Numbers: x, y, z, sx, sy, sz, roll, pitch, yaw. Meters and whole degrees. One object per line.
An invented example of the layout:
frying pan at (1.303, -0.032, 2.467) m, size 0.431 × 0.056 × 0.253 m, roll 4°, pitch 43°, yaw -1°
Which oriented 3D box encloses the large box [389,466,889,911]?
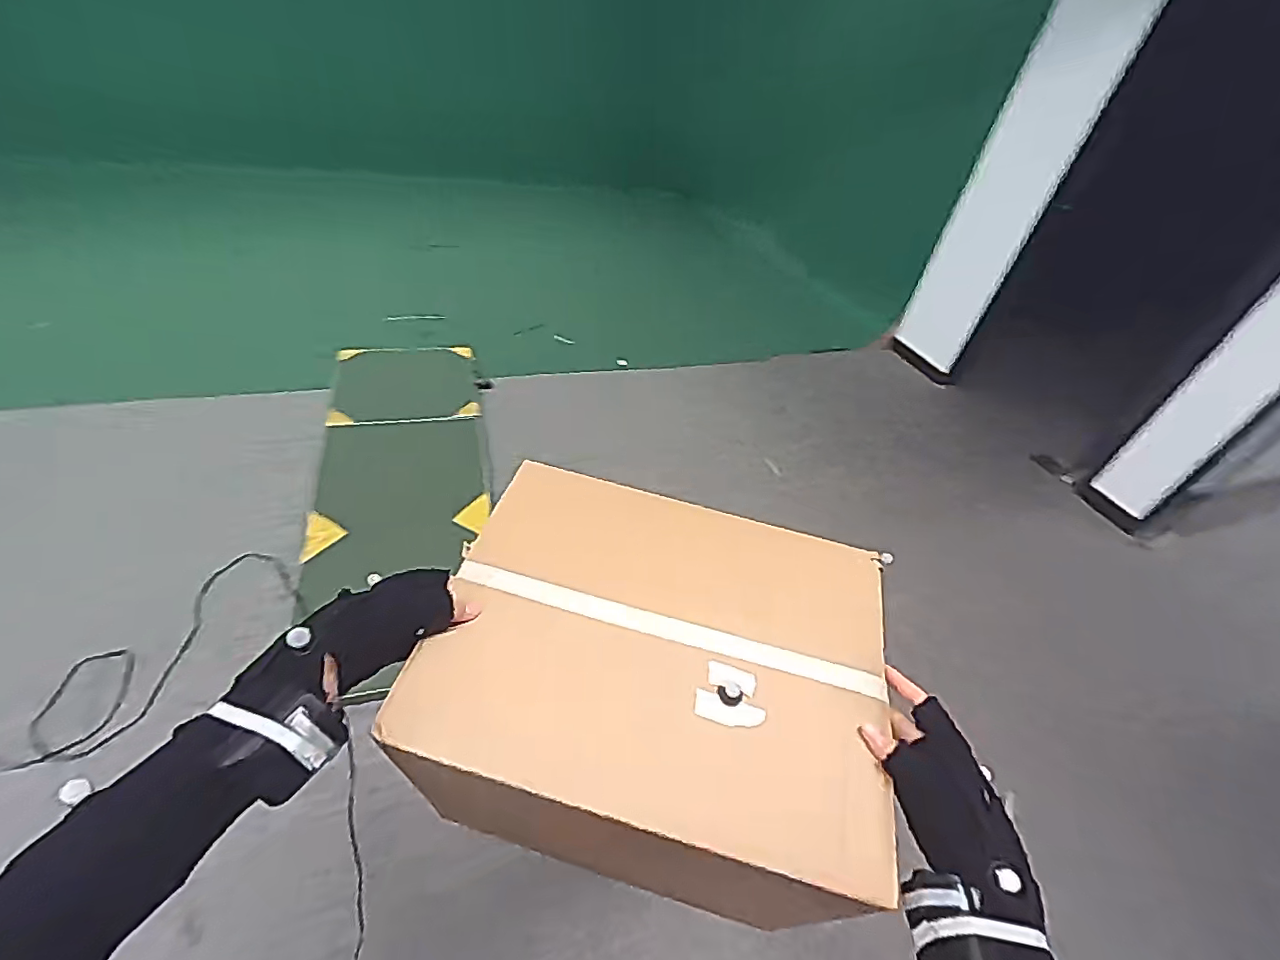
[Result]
large box at (0.006, 0.235, 0.618) m, size 0.408 × 0.320 × 0.320 m, roll 15°, pitch 48°, yaw 4°
